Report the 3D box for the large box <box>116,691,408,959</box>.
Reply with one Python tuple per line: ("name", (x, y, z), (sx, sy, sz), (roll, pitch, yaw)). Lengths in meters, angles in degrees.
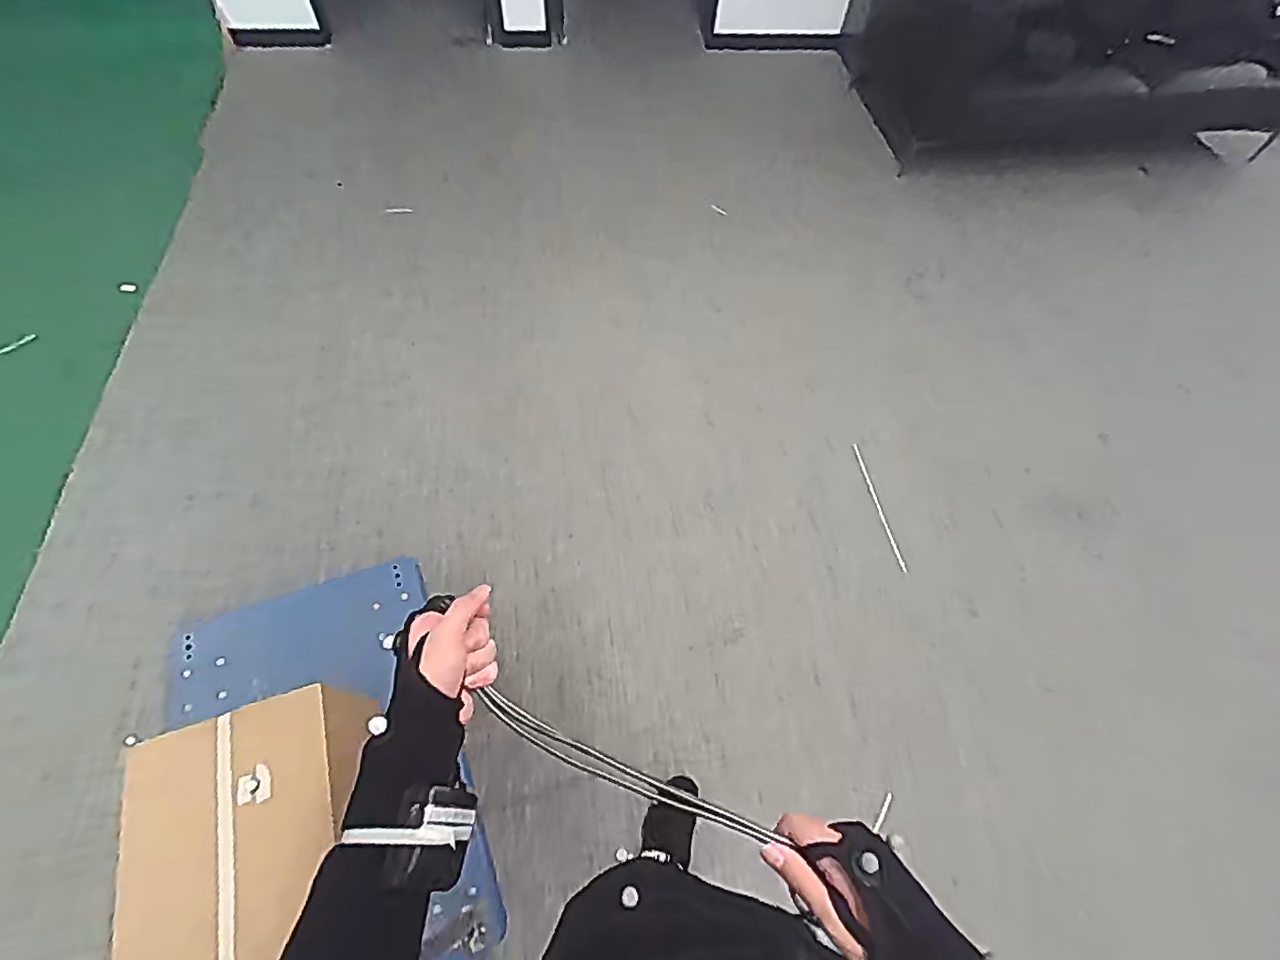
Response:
("large box", (-0.653, 0.657, 0.980), (0.320, 0.320, 0.408), (-16, 62, -13))
